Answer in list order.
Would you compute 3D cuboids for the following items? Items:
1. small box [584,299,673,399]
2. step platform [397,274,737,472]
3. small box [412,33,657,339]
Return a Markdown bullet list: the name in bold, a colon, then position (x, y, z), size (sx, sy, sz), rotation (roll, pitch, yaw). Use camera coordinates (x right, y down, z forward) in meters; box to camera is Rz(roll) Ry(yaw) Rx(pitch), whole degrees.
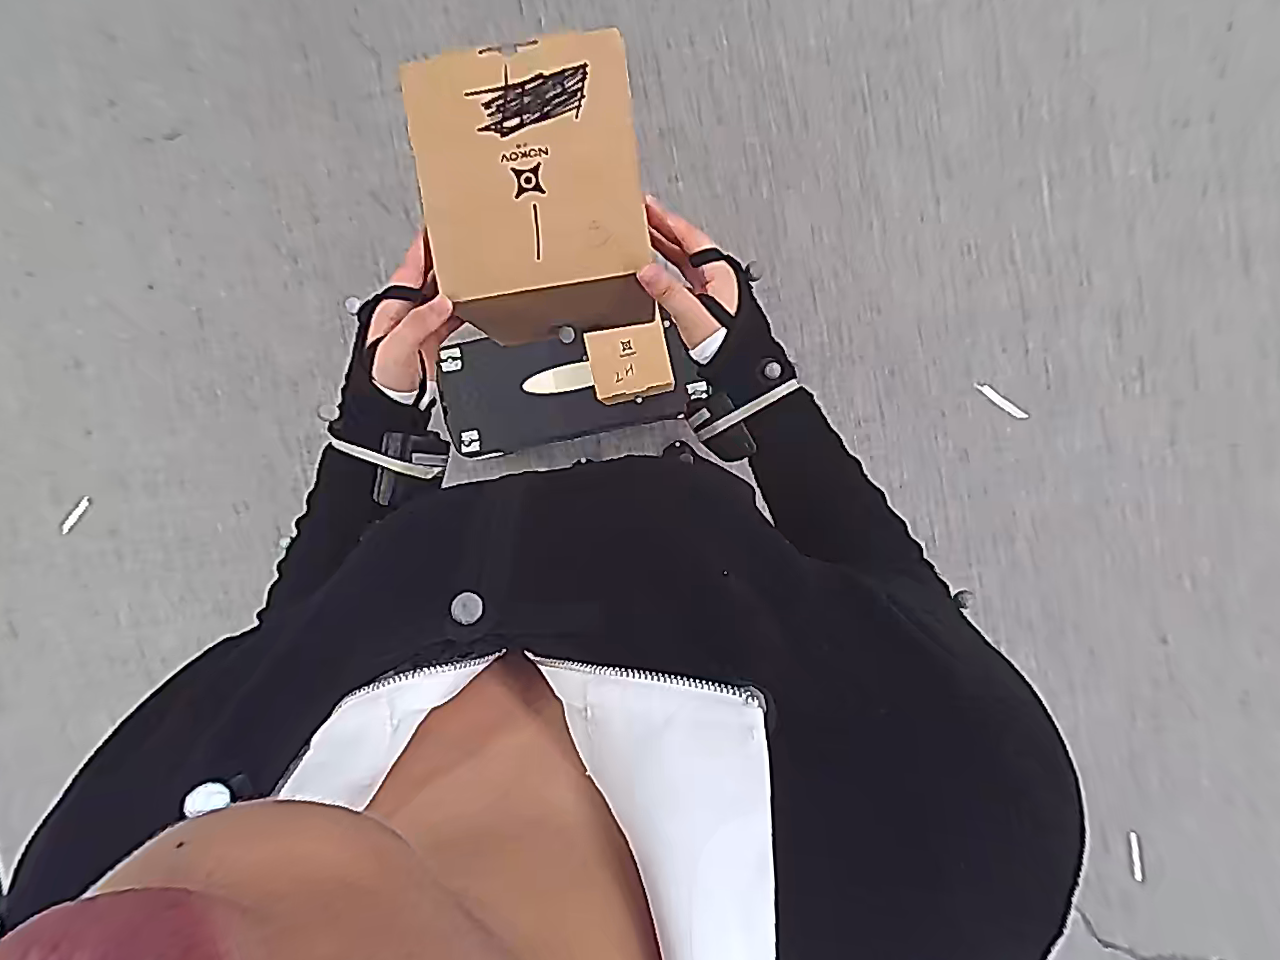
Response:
- **small box**: position (-0.026, -0.281, 1.204), size (0.168, 0.176, 0.179), rotation (-12, 94, 4)
- **step platform**: position (-0.148, -0.217, 1.178), size (0.684, 0.204, 0.286), rotation (-11, 93, 2)
- **small box**: position (-0.078, -0.239, 0.485), size (0.168, 0.176, 0.179), rotation (-8, 94, 2)
